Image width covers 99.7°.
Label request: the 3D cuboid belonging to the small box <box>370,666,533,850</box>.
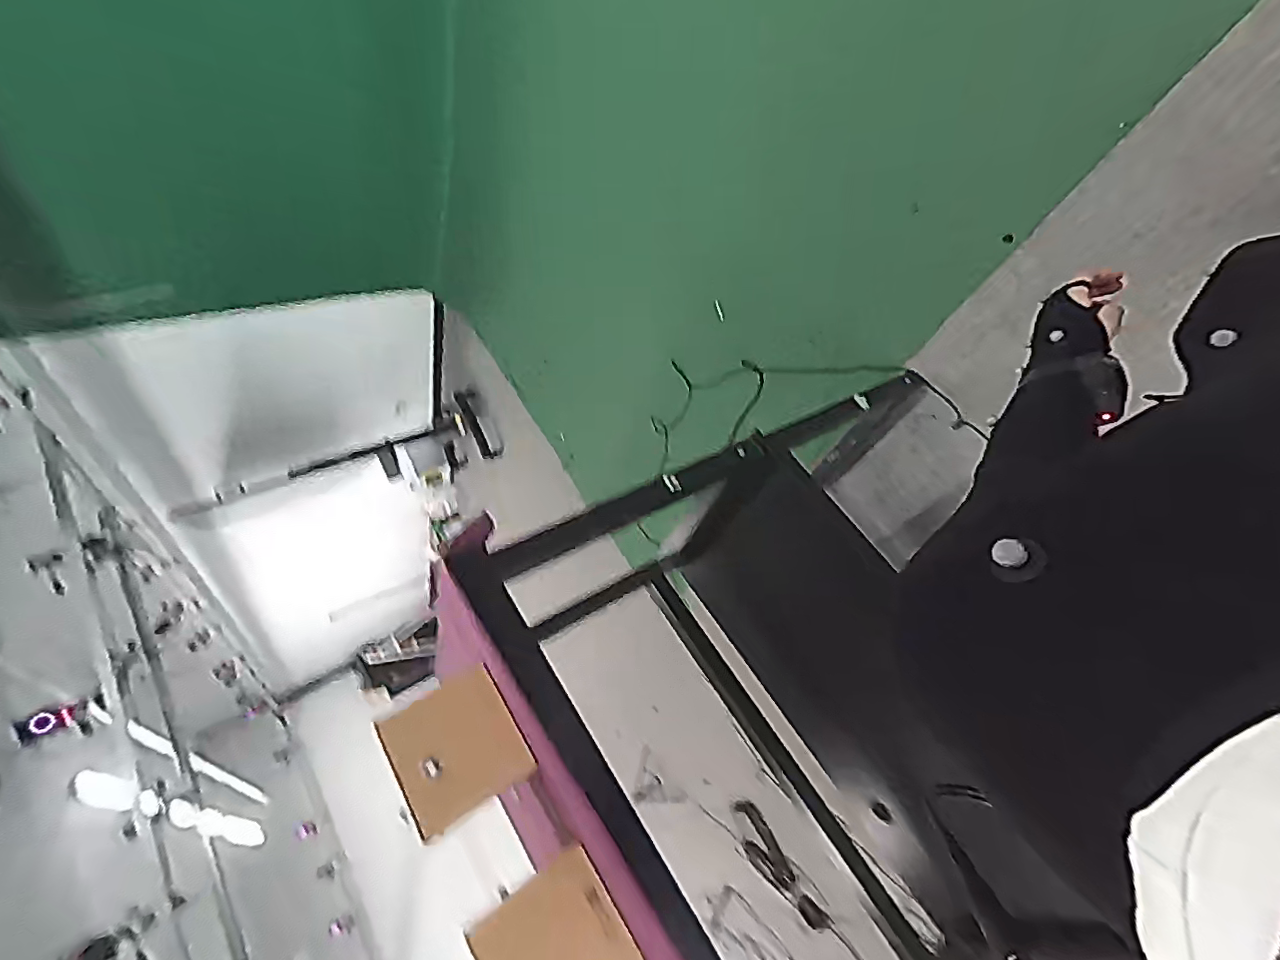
[{"bbox_3d":[-0.280,0.417,0.816,0.179,0.176,0.168,53,145,20],"label":"small box"}]
